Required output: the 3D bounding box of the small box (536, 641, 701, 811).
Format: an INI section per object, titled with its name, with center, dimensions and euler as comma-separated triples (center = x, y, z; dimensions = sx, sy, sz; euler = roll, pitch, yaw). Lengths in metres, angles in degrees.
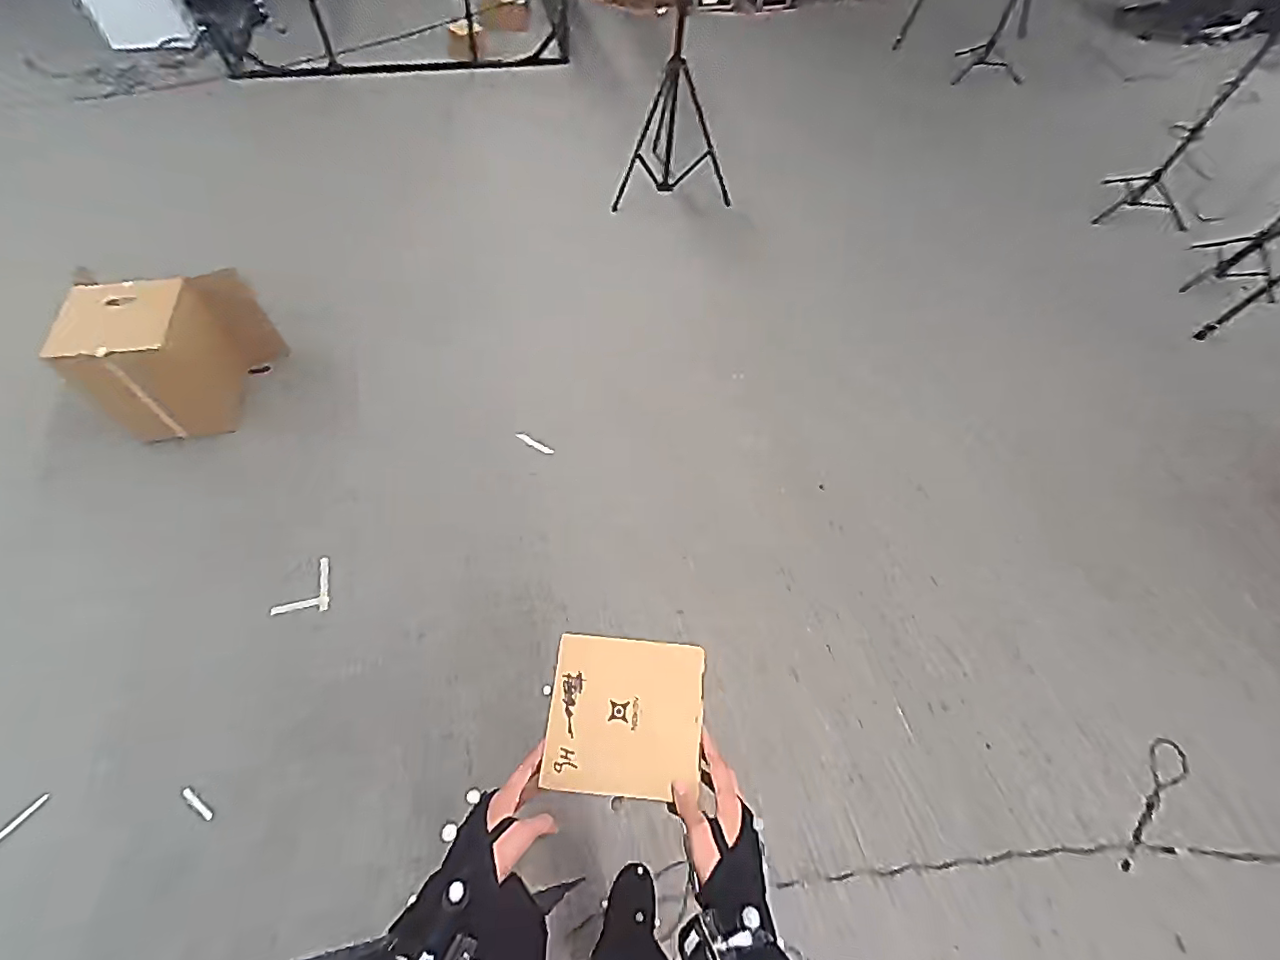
[small box]
center = -0.023, 0.315, 0.692
dimensions = 0.179, 0.176, 0.168
euler = 5, 61, 1
